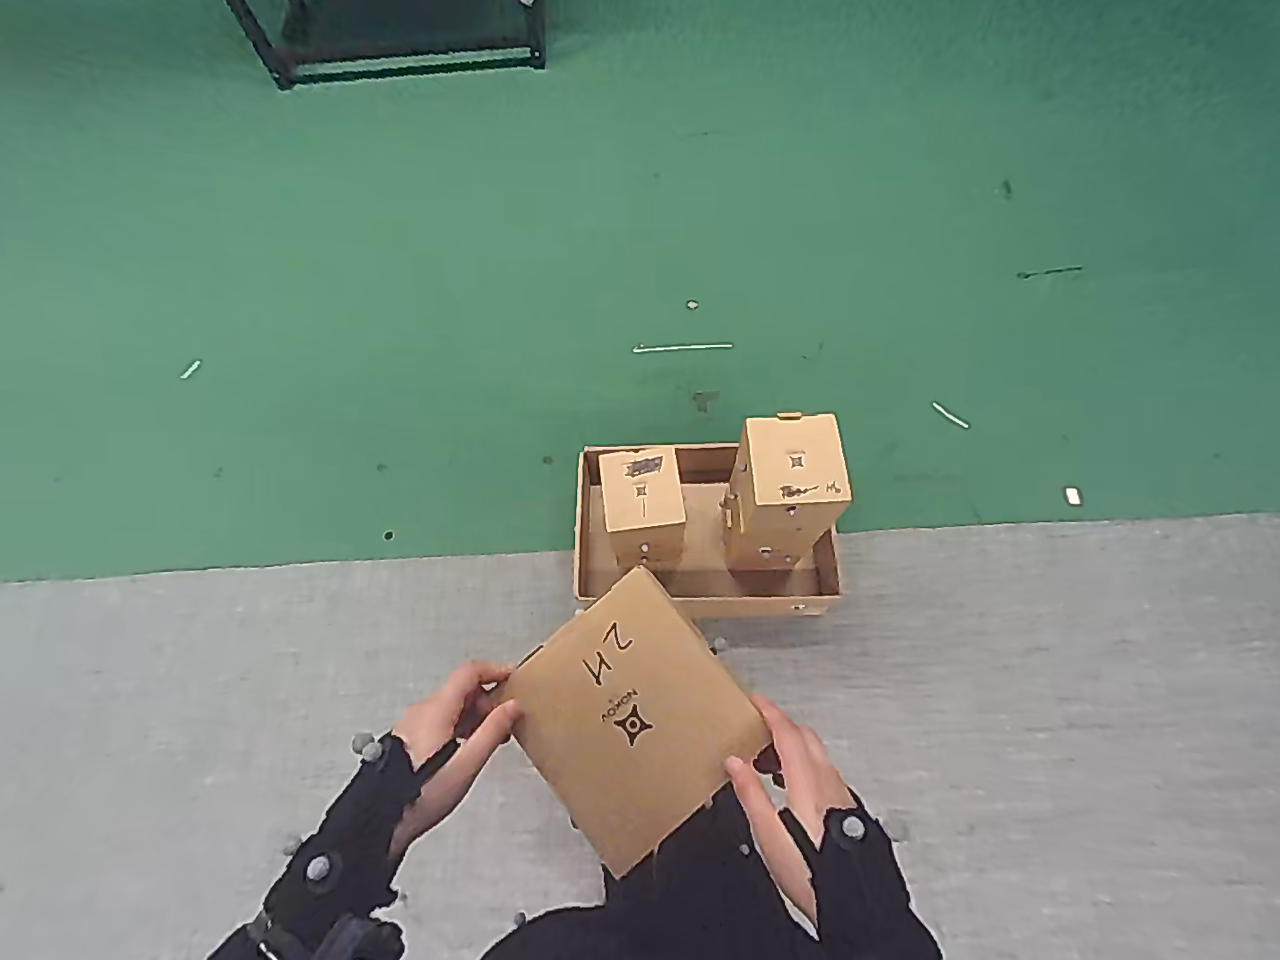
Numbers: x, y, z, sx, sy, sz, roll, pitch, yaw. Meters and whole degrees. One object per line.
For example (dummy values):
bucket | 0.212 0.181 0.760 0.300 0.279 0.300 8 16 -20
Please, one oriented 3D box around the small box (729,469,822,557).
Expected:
small box | 0.286 0.061 1.178 0.168 0.176 0.179 -1 67 4

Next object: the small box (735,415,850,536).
small box | 0.278 -0.004 1.027 0.168 0.176 0.179 -3 65 2

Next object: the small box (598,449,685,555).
small box | 0.001 0.052 1.193 0.168 0.176 0.179 -7 68 -2

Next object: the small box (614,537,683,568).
small box | 0.012 0.108 1.348 0.168 0.176 0.179 -5 67 -1
